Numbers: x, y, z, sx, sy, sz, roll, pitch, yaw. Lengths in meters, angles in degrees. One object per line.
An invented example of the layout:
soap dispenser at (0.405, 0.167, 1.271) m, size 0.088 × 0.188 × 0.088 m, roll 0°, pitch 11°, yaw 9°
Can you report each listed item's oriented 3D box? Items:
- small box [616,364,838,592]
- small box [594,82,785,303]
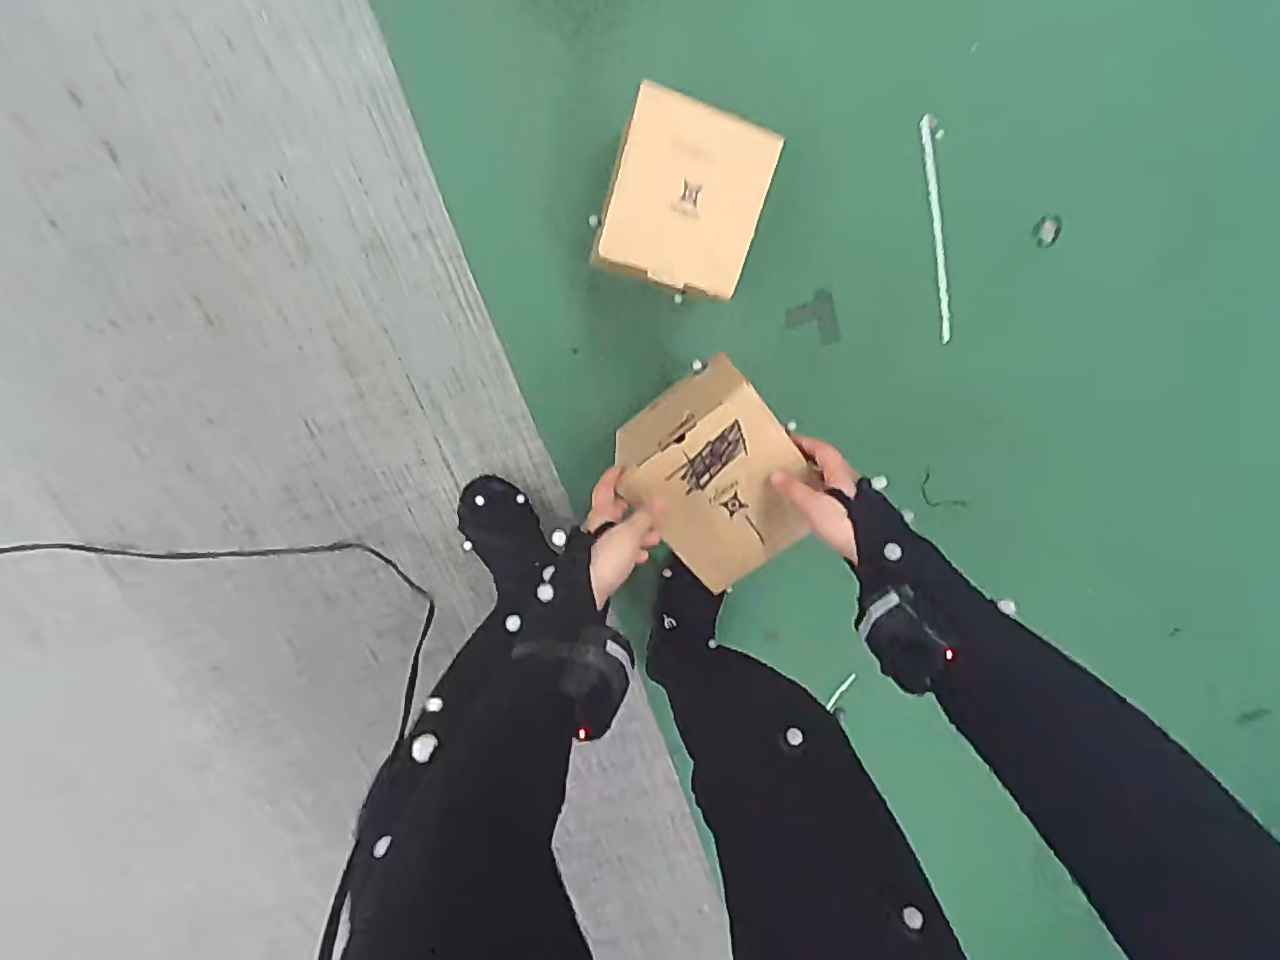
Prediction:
small box at (0.088, -0.014, 0.622) m, size 0.168 × 0.176 × 0.179 m, roll -37°, pitch 110°, yaw 15°
small box at (0.045, -0.327, 0.658) m, size 0.168 × 0.176 × 0.179 m, roll 14°, pitch 105°, yaw -13°
